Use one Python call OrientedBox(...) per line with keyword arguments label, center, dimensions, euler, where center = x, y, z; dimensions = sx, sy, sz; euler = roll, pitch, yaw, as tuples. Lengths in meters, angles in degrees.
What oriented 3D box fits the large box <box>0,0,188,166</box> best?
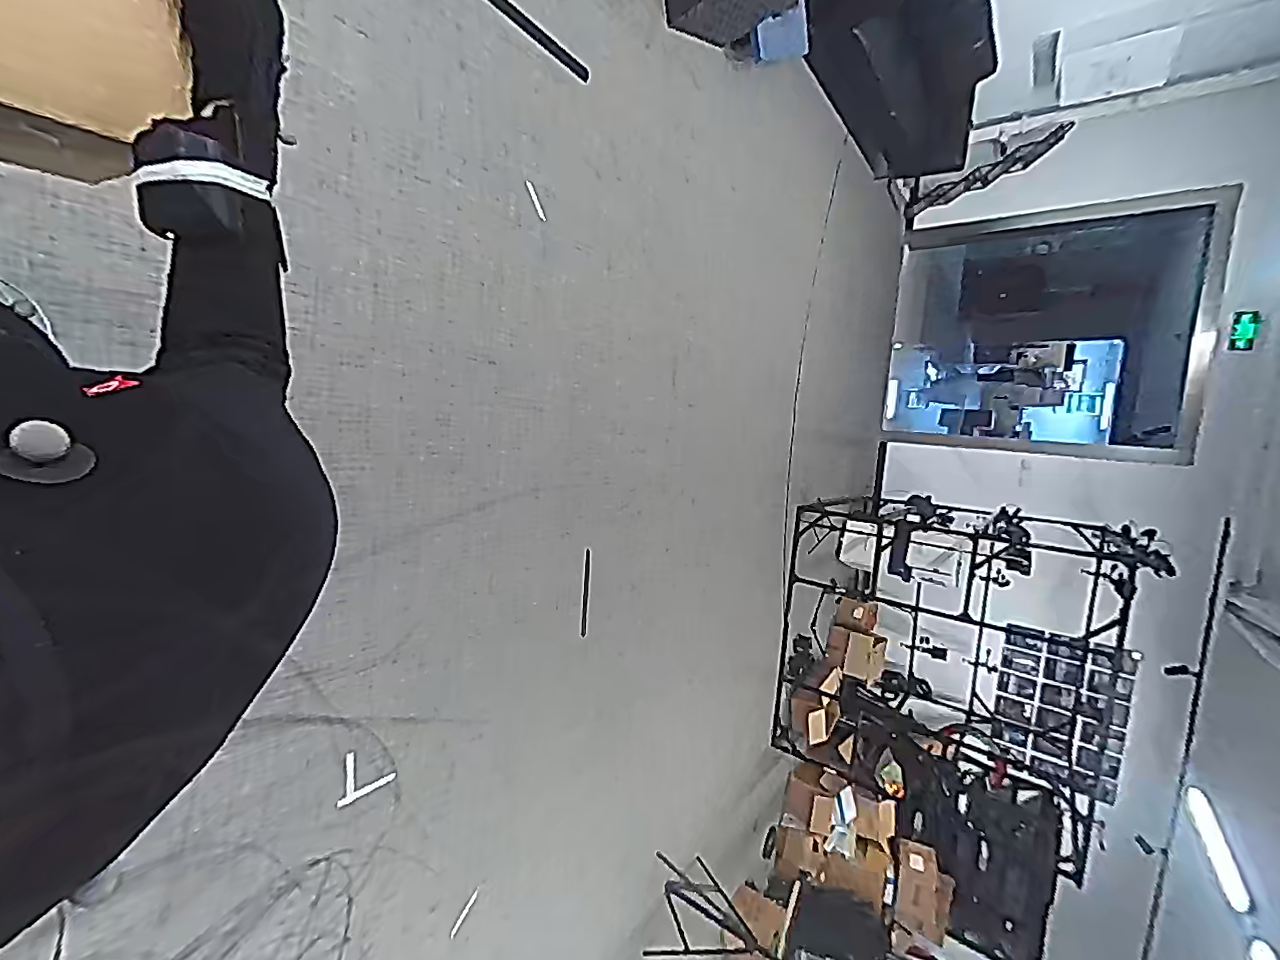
OrientedBox(label="large box", center=(-0.552, -0.415, 0.293), dimensions=(0.408, 0.320, 0.320), euler=(-8, 113, -54))
